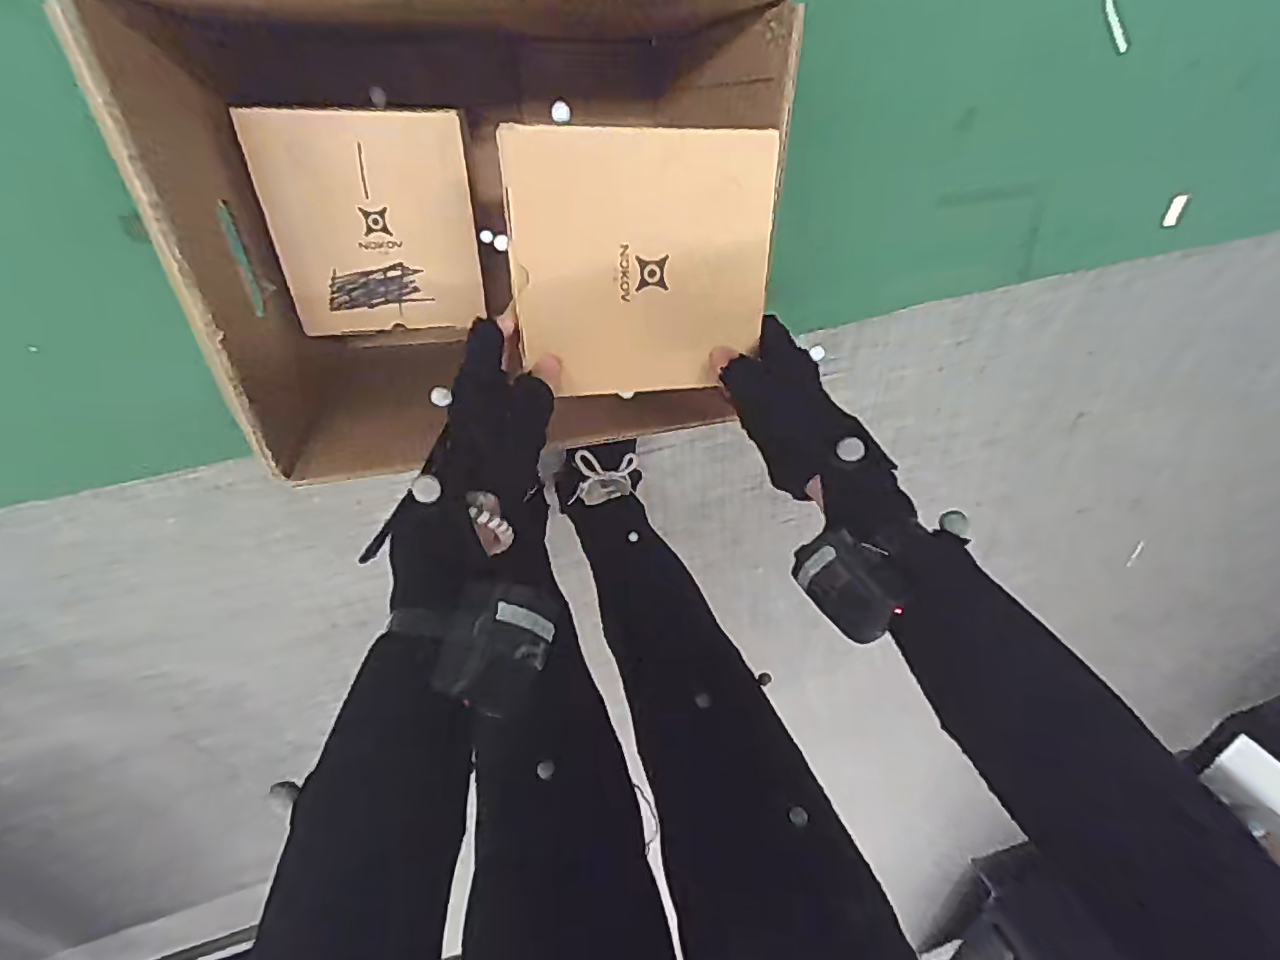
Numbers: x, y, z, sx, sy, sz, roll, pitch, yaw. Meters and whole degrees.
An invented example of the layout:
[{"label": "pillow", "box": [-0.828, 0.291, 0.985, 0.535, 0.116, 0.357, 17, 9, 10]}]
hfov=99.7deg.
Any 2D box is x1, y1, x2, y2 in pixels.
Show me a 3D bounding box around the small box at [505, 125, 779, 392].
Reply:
[{"label": "small box", "box": [-0.011, -0.179, 0.435, 0.179, 0.176, 0.168, -5, 118, -9]}]
